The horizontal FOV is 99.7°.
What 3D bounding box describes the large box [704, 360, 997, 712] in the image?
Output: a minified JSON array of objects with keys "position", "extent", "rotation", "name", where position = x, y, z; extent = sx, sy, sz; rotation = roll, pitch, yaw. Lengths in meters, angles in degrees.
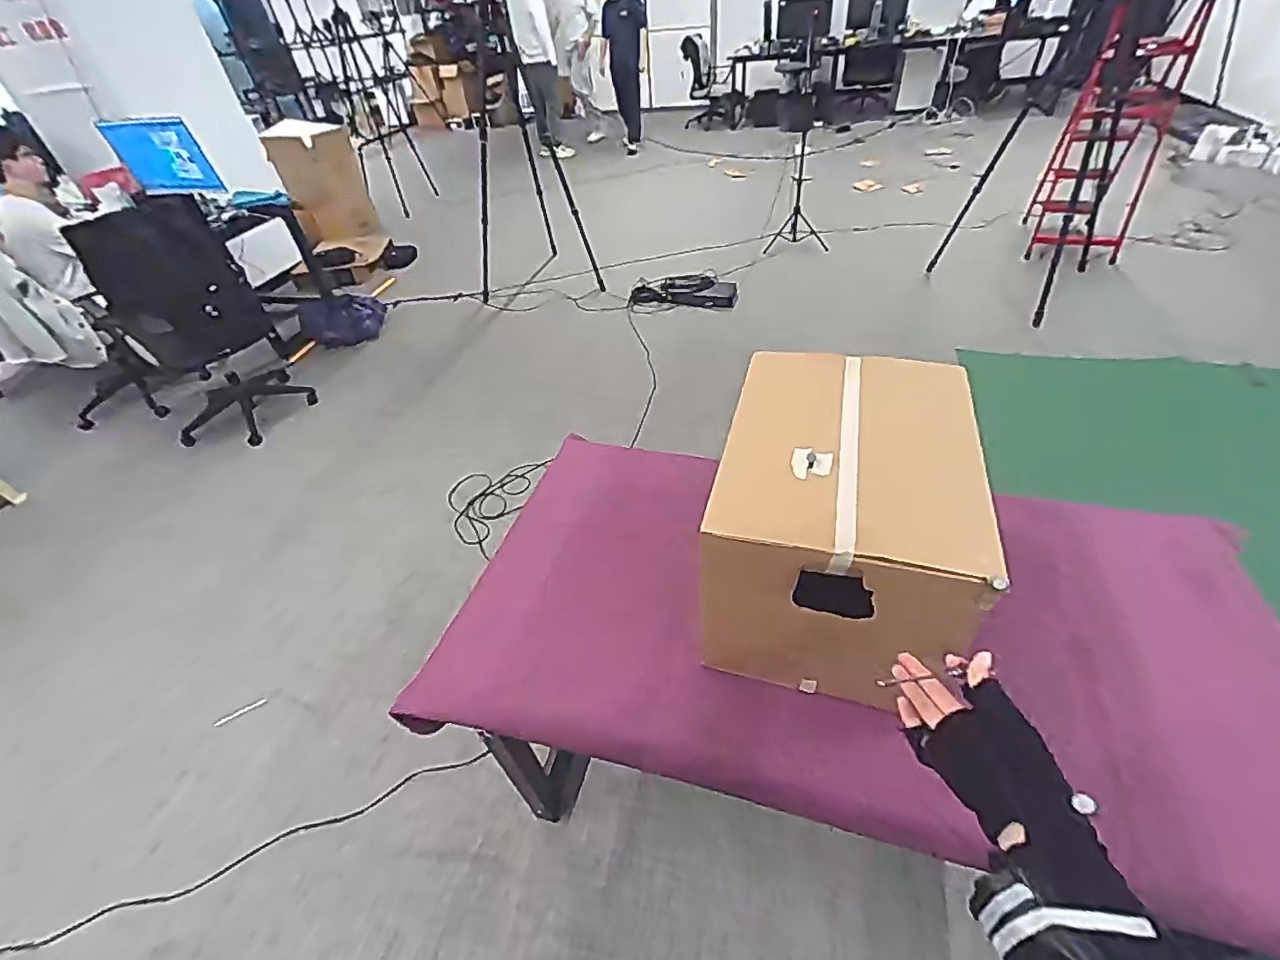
[{"position":[0.287,0.066,0.826],"extent":[0.320,0.320,0.408],"rotation":[9,46,16],"name":"large box"}]
